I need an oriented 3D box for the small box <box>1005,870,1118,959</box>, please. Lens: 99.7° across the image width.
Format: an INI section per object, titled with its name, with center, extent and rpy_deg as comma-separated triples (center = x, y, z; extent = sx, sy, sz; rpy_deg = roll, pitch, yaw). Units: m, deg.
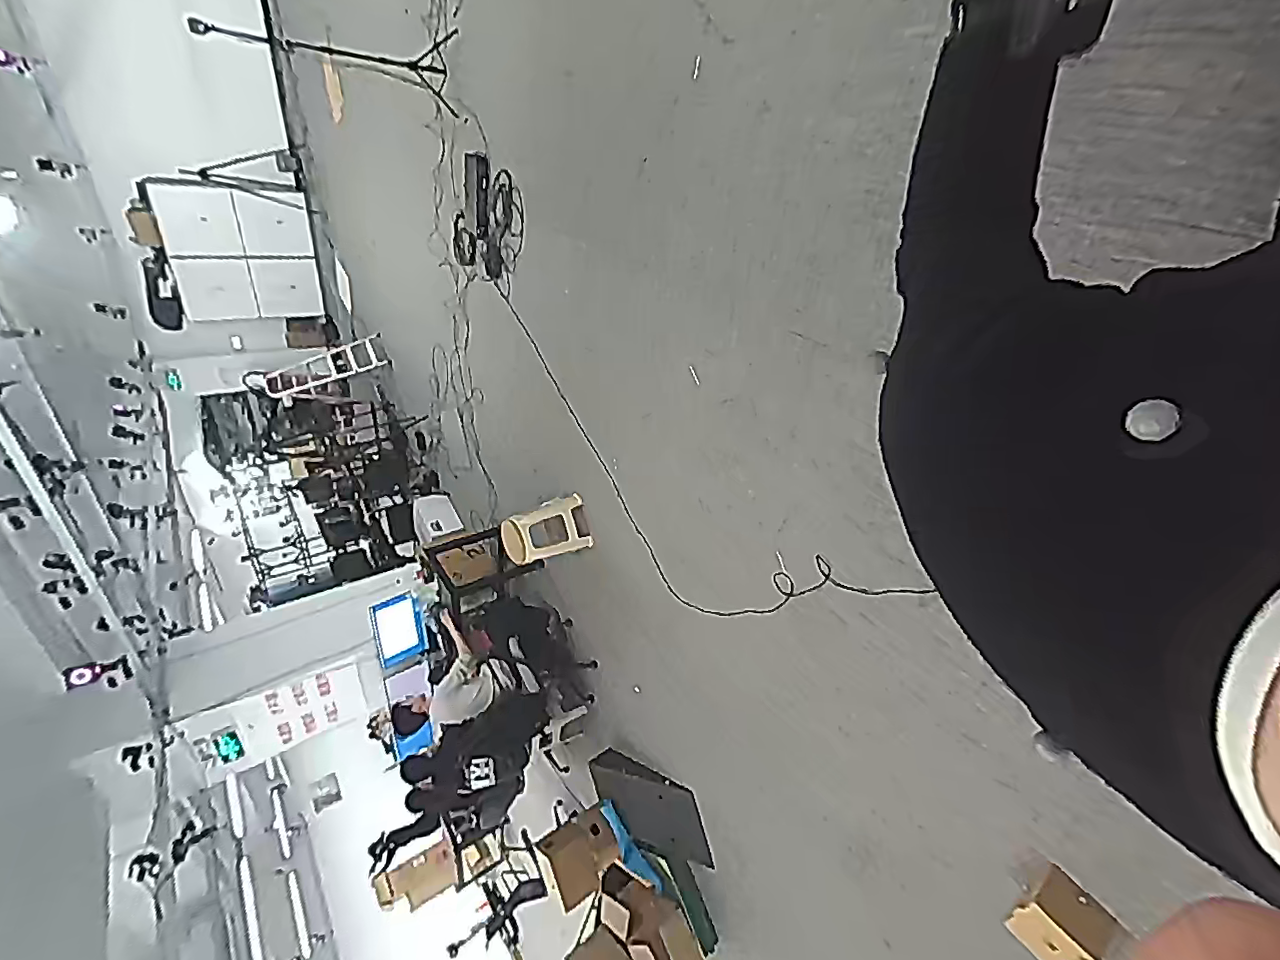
[small box]
center = 1.207, 1.268, 1.551
extent = 0.179, 0.176, 0.168
rpy_deg = 41, 135, 38
